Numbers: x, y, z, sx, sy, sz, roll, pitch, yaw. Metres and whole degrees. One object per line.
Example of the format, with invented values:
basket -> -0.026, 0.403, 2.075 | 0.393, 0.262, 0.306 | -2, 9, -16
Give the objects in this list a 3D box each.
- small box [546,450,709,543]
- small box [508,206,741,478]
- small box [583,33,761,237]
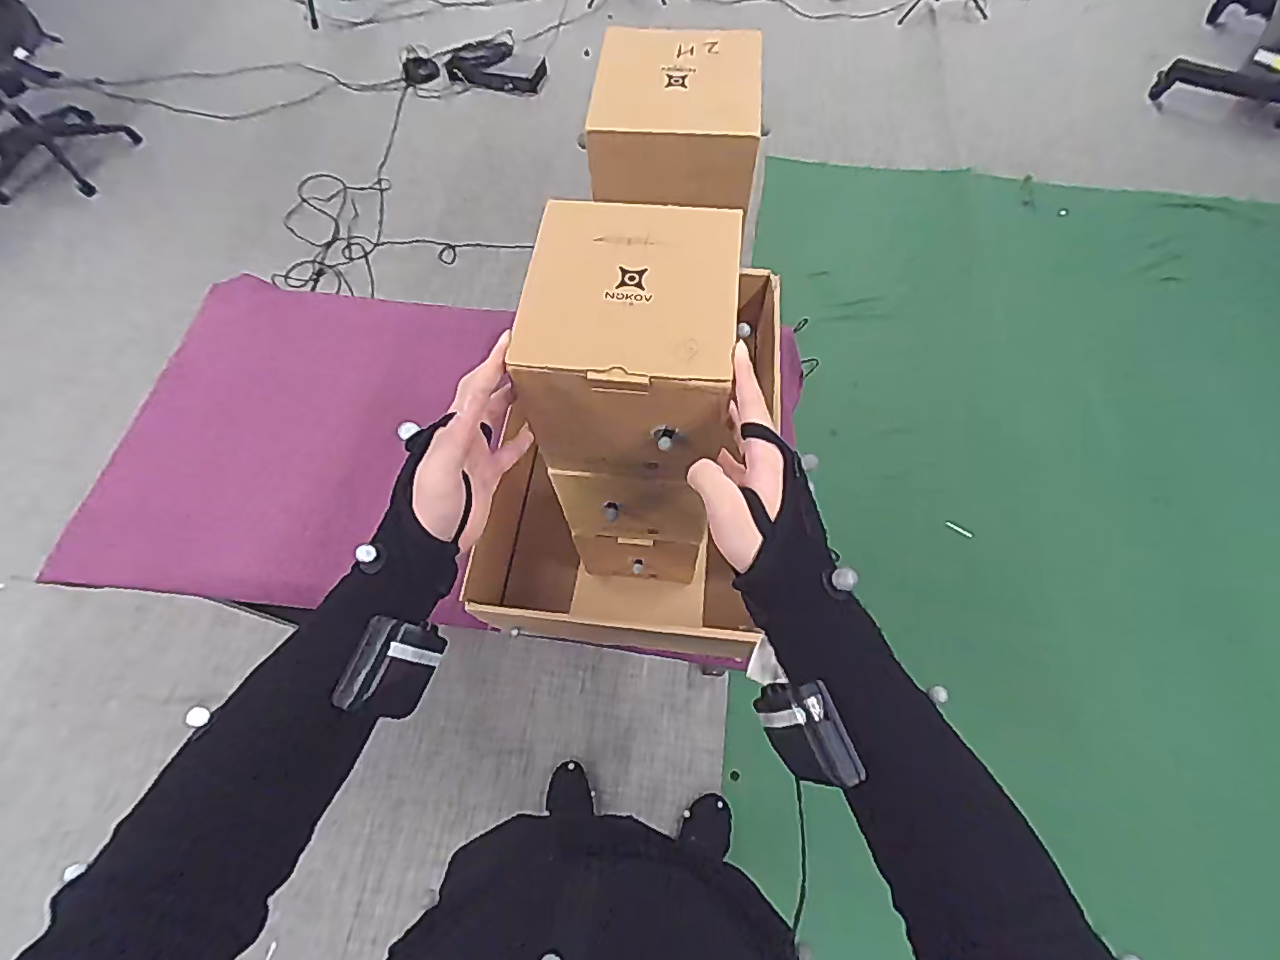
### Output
small box -> 0.000, -0.036, 0.639 | 0.168, 0.176, 0.179 | 4, 63, 5
small box -> -0.004, -0.114, 0.491 | 0.168, 0.176, 0.179 | 5, 66, 4
small box -> 0.038, -0.358, 0.608 | 0.168, 0.176, 0.179 | 5, 65, 4
